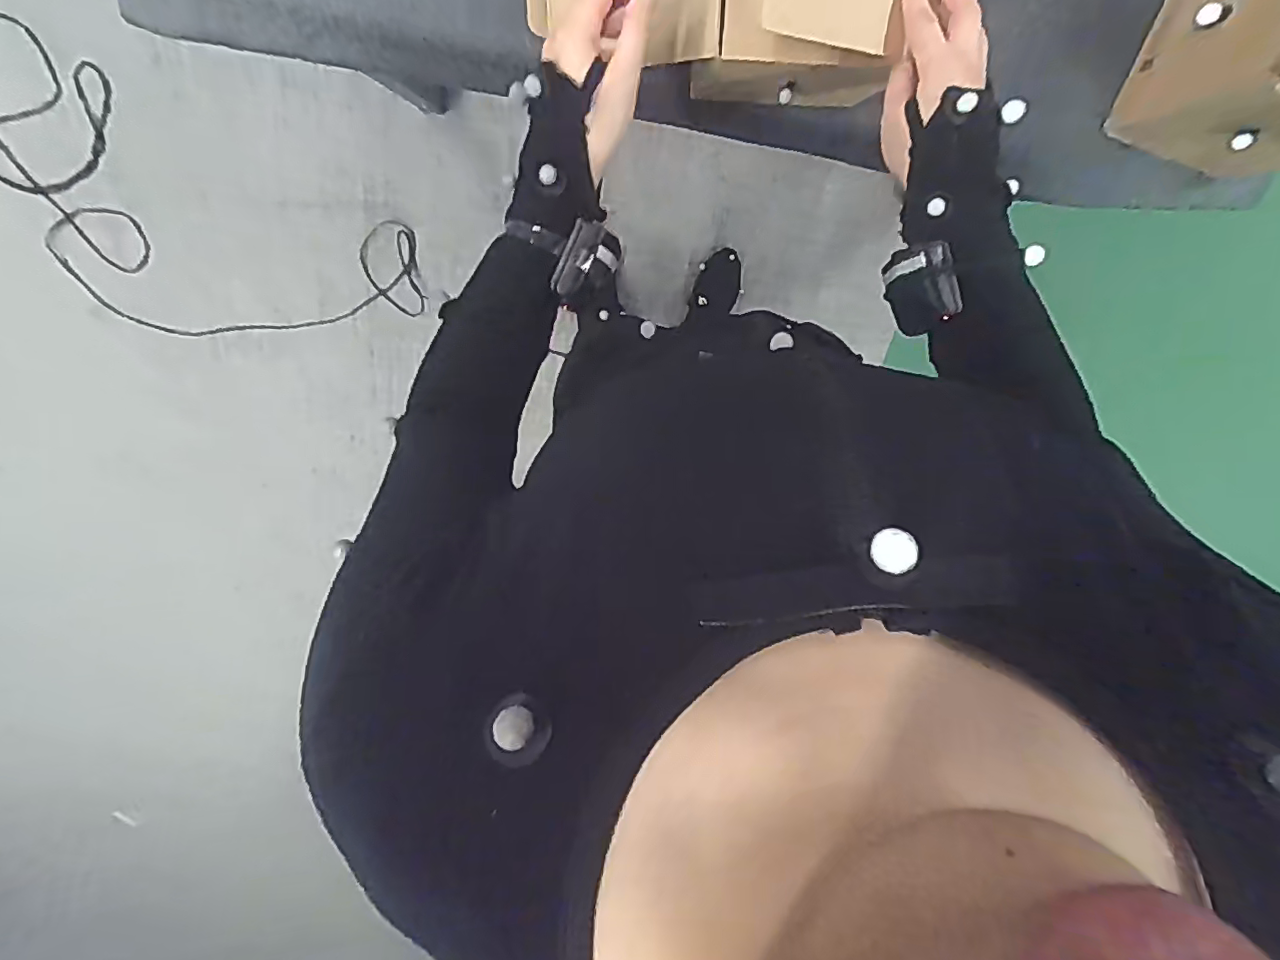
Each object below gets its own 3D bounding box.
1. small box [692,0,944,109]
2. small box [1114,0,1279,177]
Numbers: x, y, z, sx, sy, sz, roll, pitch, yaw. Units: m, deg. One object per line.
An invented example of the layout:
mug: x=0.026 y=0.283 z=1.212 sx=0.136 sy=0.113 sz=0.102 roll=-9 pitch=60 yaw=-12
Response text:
small box: x=0.146 y=-0.435 z=0.467 sx=0.179 sy=0.176 sz=0.168 roll=2 pitch=116 yaw=-2
small box: x=0.624 y=-0.407 z=0.513 sx=0.179 sy=0.176 sz=0.168 roll=13 pitch=111 yaw=-9
